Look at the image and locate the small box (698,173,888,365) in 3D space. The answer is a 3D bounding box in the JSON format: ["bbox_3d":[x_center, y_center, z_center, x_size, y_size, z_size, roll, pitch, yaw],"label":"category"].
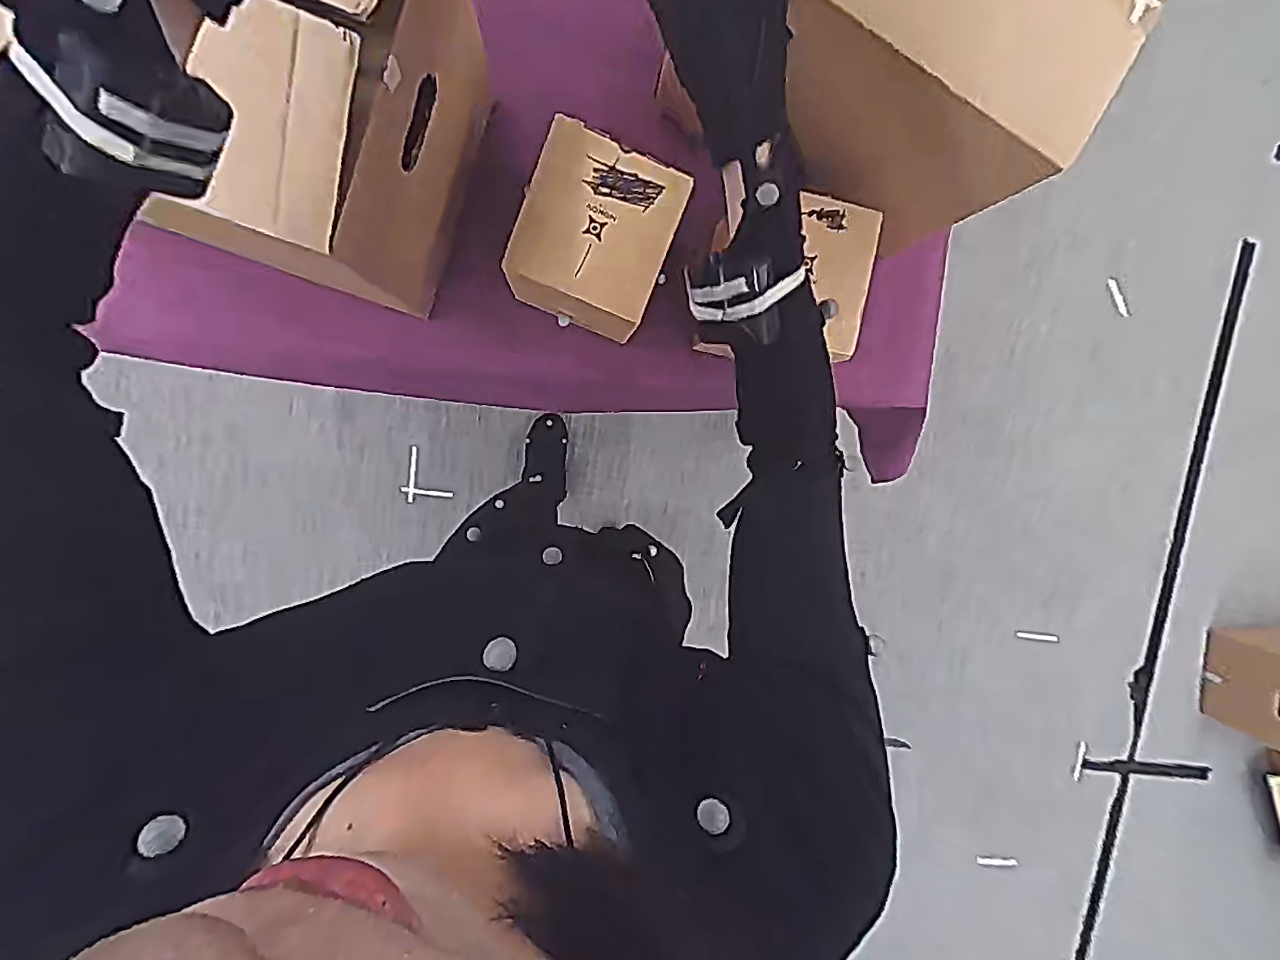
[{"bbox_3d":[0.182,-0.254,0.701,0.168,0.176,0.179,11,95,-9],"label":"small box"}]
